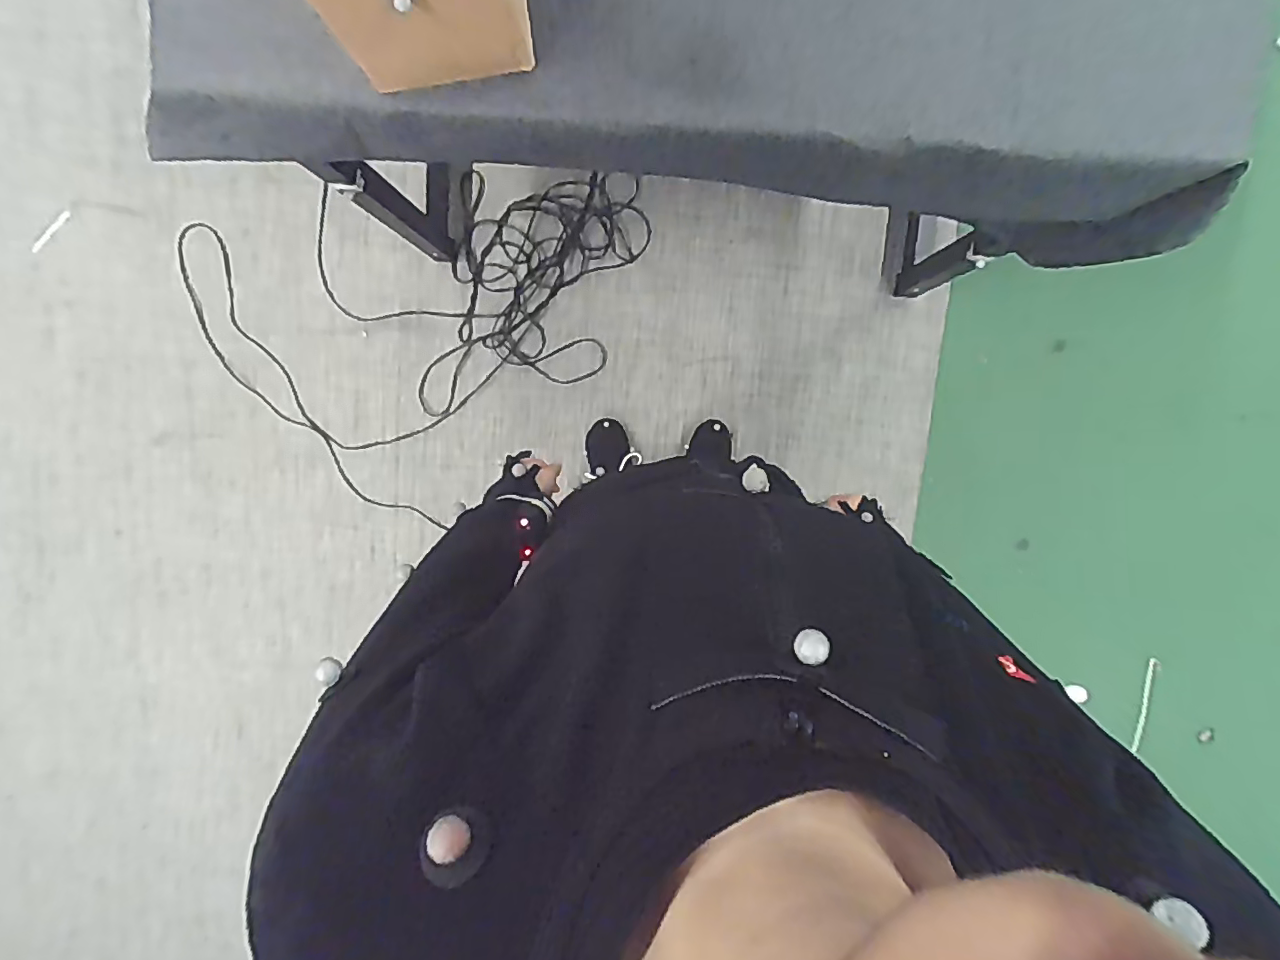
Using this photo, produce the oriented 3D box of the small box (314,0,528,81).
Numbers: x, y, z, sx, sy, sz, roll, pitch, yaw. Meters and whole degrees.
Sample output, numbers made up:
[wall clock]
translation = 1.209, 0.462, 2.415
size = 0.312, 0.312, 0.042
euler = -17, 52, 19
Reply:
[small box]
translation = -0.209, -0.512, 0.499
size = 0.179, 0.176, 0.168
euler = -7, 96, 2
